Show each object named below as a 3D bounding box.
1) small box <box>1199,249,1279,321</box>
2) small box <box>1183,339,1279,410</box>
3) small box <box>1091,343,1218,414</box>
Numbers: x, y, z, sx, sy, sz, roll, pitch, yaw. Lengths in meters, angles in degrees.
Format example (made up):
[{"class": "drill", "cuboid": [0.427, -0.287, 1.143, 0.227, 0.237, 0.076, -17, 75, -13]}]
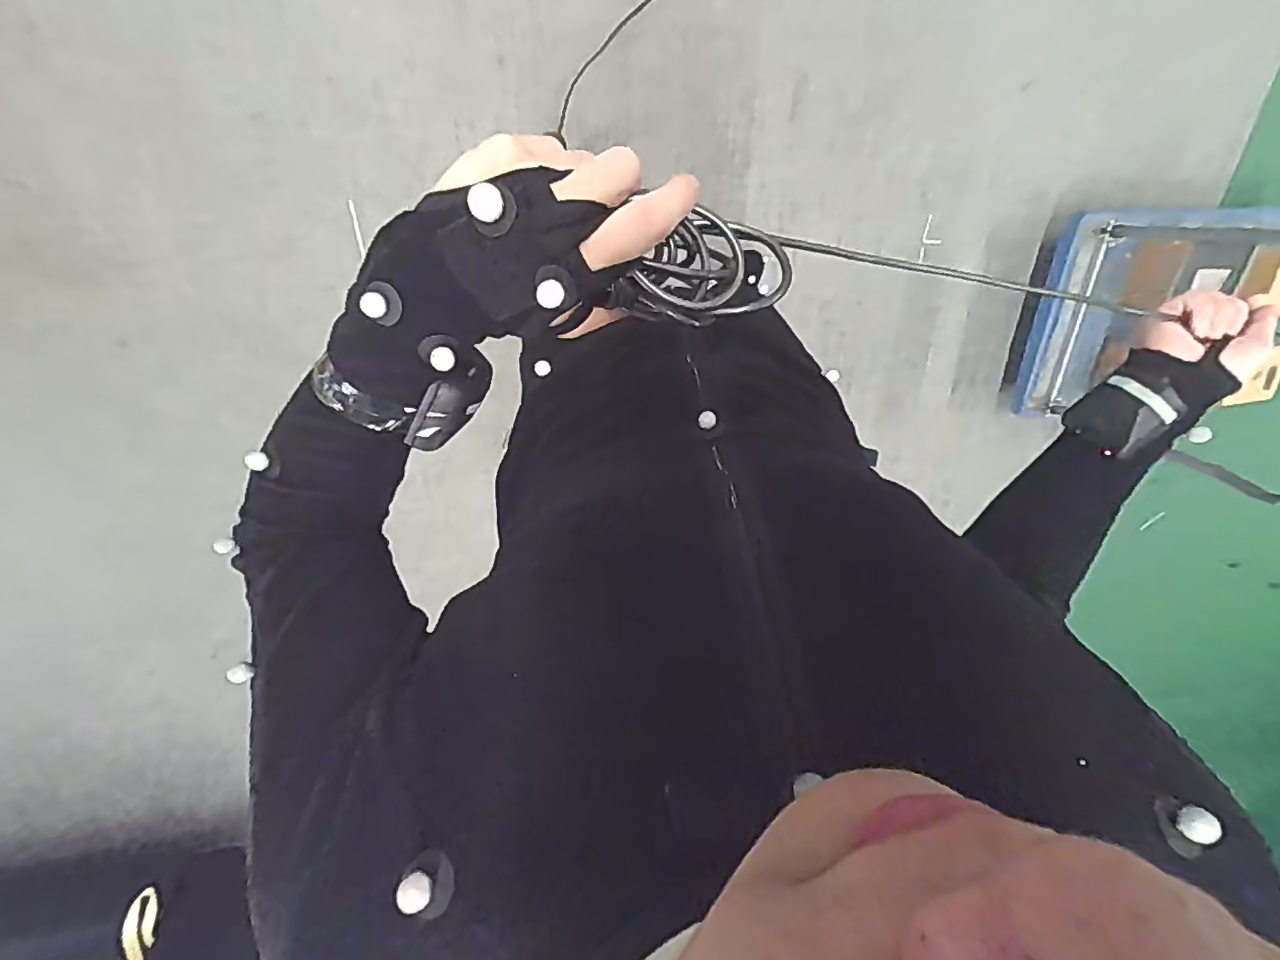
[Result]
[{"class": "small box", "cuboid": [1.732, -0.544, 1.499, 0.179, 0.176, 0.168, -8, 117, -7]}, {"class": "small box", "cuboid": [1.751, -0.319, 1.610, 0.179, 0.176, 0.168, -7, 116, -6]}, {"class": "small box", "cuboid": [1.485, -0.299, 1.571, 0.179, 0.176, 0.168, -3, 116, -8]}]
